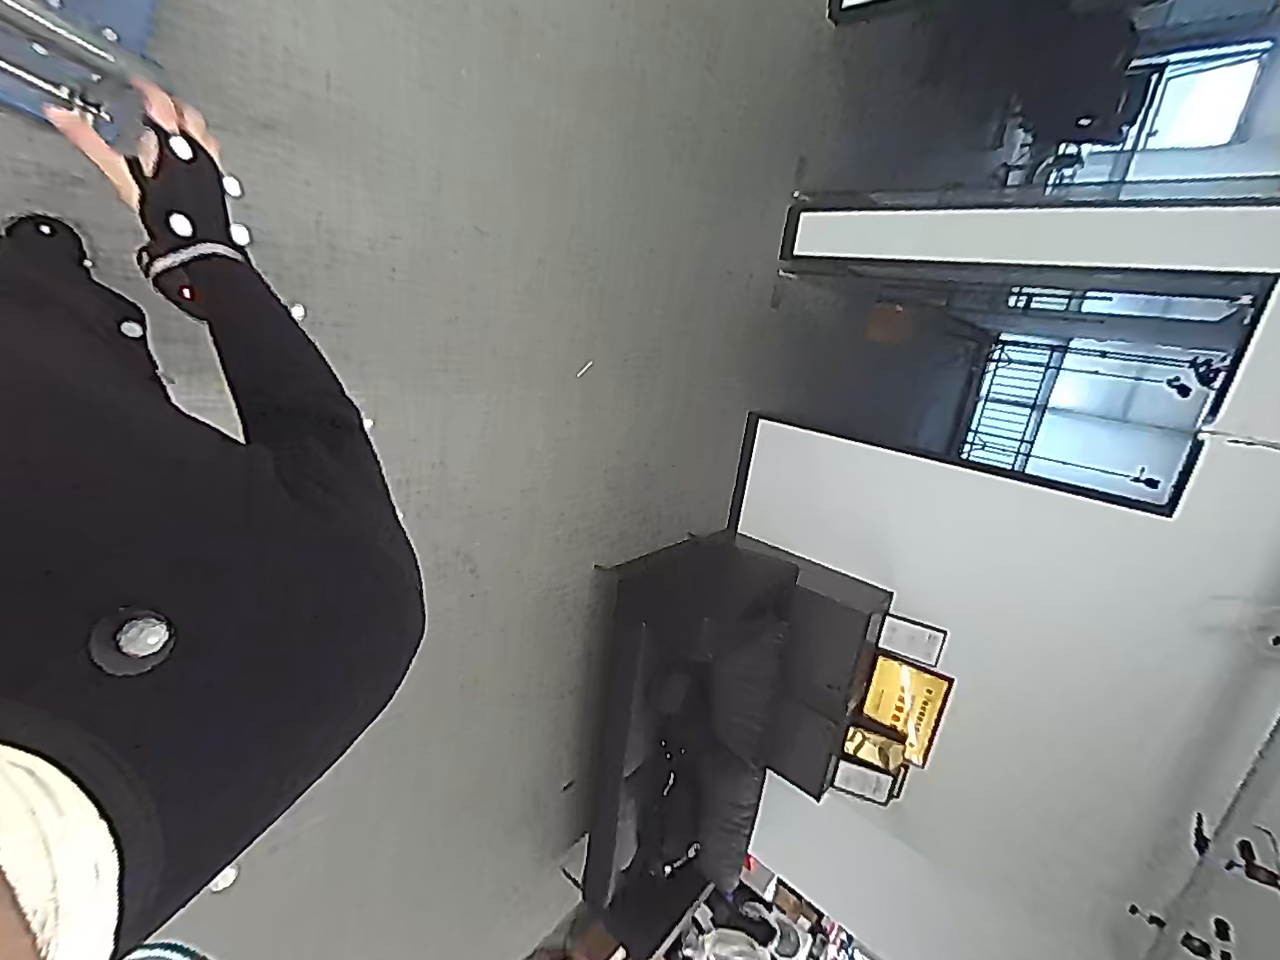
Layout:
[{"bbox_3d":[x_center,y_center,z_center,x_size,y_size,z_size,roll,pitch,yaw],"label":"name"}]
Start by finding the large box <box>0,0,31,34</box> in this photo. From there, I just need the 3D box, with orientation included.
[{"bbox_3d":[-0.936,-0.890,0.662,0.320,0.320,0.408,15,94,-54],"label":"large box"}]
